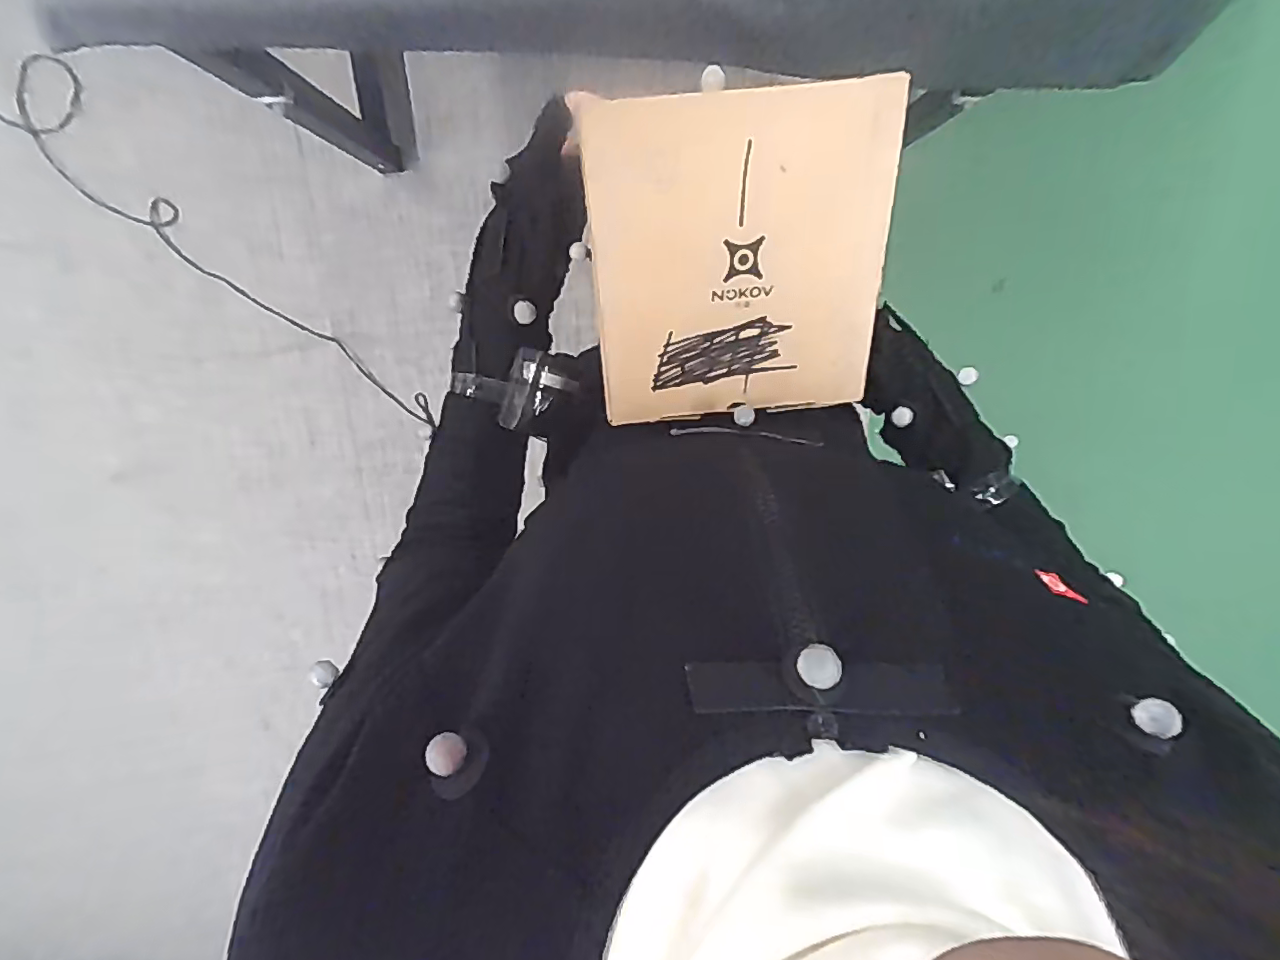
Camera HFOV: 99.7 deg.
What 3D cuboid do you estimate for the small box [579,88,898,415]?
[{"bbox_3d":[0.049,-0.164,0.383,0.168,0.176,0.179,-5,122,-3],"label":"small box"}]
